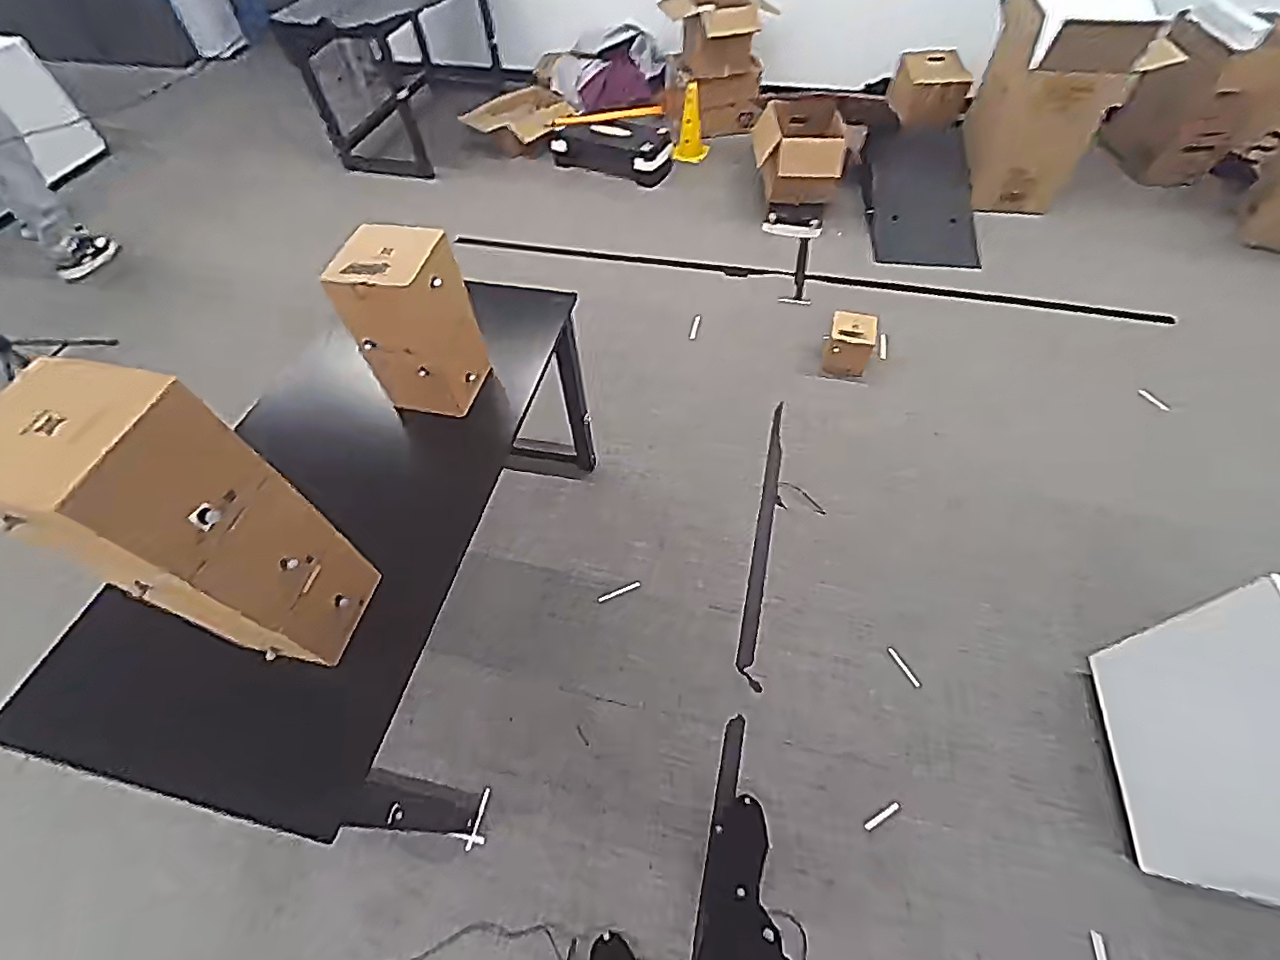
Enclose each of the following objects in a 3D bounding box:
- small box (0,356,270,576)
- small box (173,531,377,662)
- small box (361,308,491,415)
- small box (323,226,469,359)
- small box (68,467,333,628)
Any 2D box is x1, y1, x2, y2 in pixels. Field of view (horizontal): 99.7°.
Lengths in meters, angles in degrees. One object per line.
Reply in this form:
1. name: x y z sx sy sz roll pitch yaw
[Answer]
1. small box: -0.567 -0.010 0.590 0.179 0.176 0.168 9 57 8
2. small box: -0.557 0.177 0.859 0.179 0.176 0.168 9 56 7
3. small box: -0.444 -0.257 1.155 0.179 0.176 0.168 9 56 8
4. small box: -0.443 -0.349 1.018 0.168 0.176 0.179 7 55 6
5. small box: -0.563 0.083 0.724 0.179 0.176 0.168 9 57 8
